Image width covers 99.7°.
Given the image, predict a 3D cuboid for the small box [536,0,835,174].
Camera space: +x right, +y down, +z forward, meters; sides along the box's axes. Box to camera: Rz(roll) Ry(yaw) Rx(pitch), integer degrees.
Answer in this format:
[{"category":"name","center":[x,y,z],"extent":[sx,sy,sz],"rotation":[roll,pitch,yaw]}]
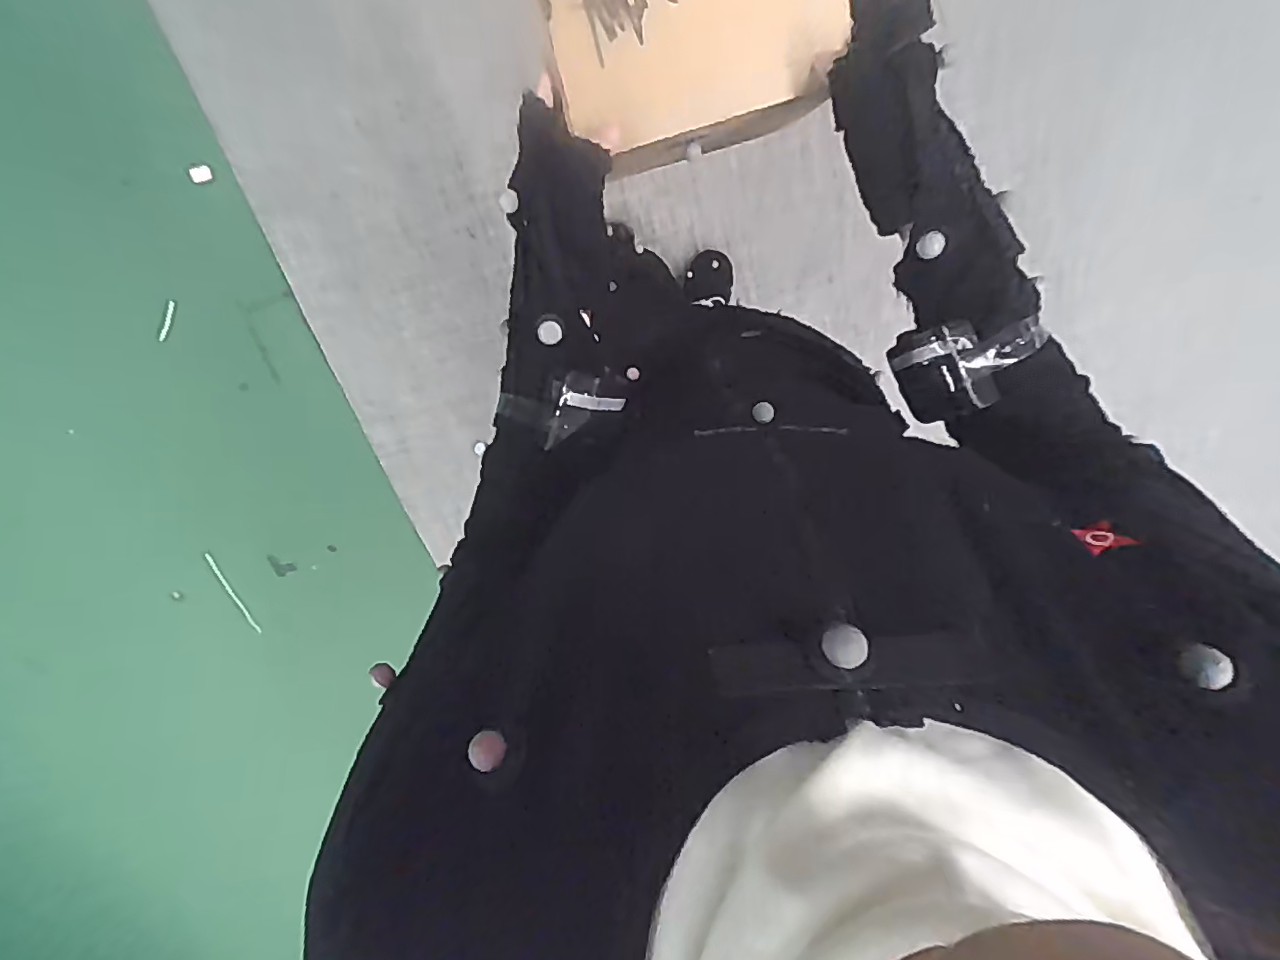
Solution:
[{"category":"small box","center":[0.024,-0.340,0.394],"extent":[0.179,0.176,0.168],"rotation":[-13,114,7]}]
